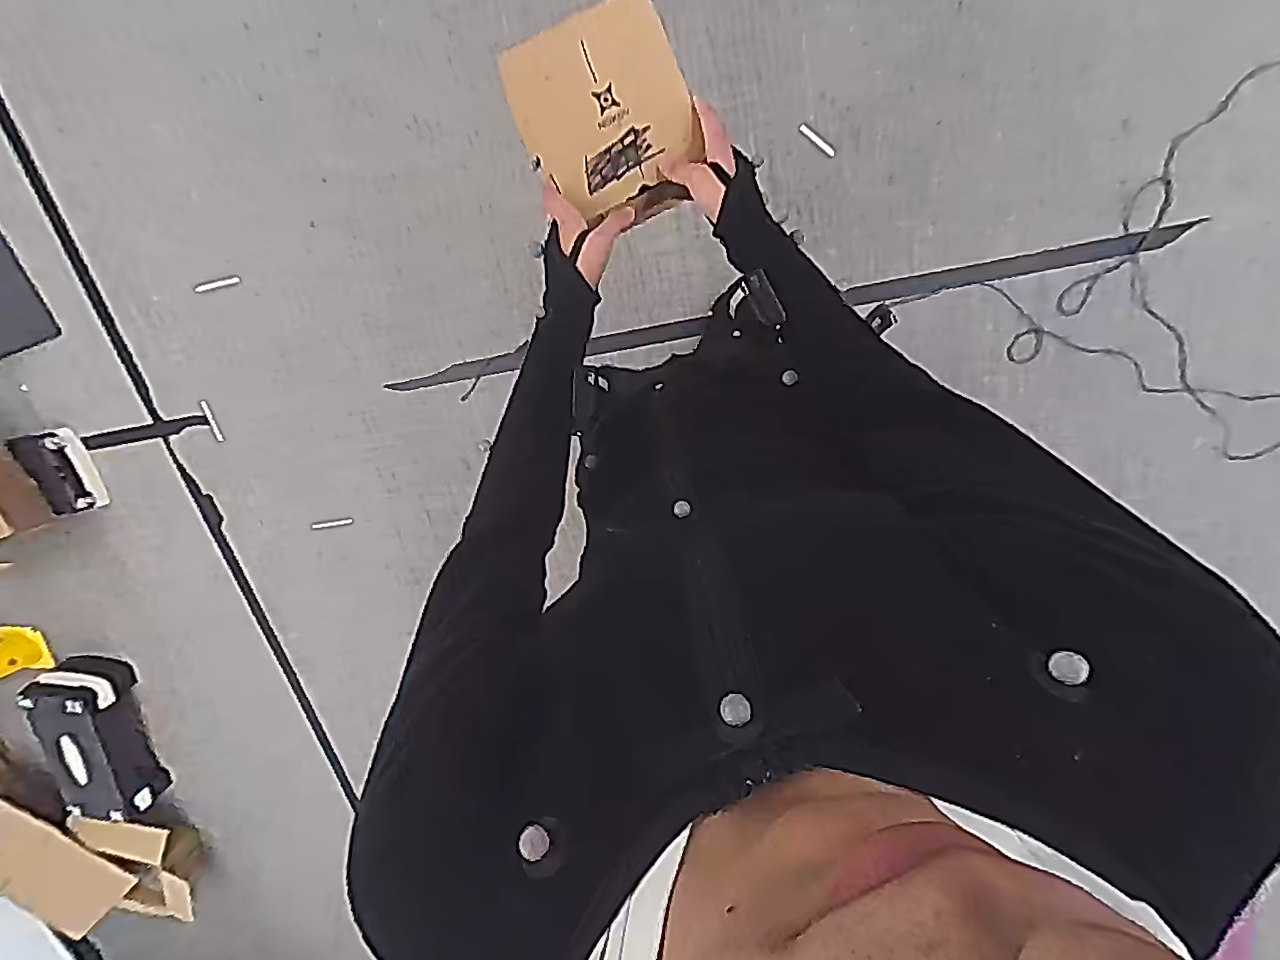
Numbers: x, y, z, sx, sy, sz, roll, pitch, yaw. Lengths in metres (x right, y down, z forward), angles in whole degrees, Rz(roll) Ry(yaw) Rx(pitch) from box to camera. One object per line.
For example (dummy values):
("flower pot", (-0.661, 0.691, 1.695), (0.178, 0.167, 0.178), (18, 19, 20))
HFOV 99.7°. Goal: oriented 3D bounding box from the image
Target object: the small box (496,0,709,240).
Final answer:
("small box", (-0.040, -0.398, 0.625), (0.168, 0.176, 0.179), (-27, 104, 1))
